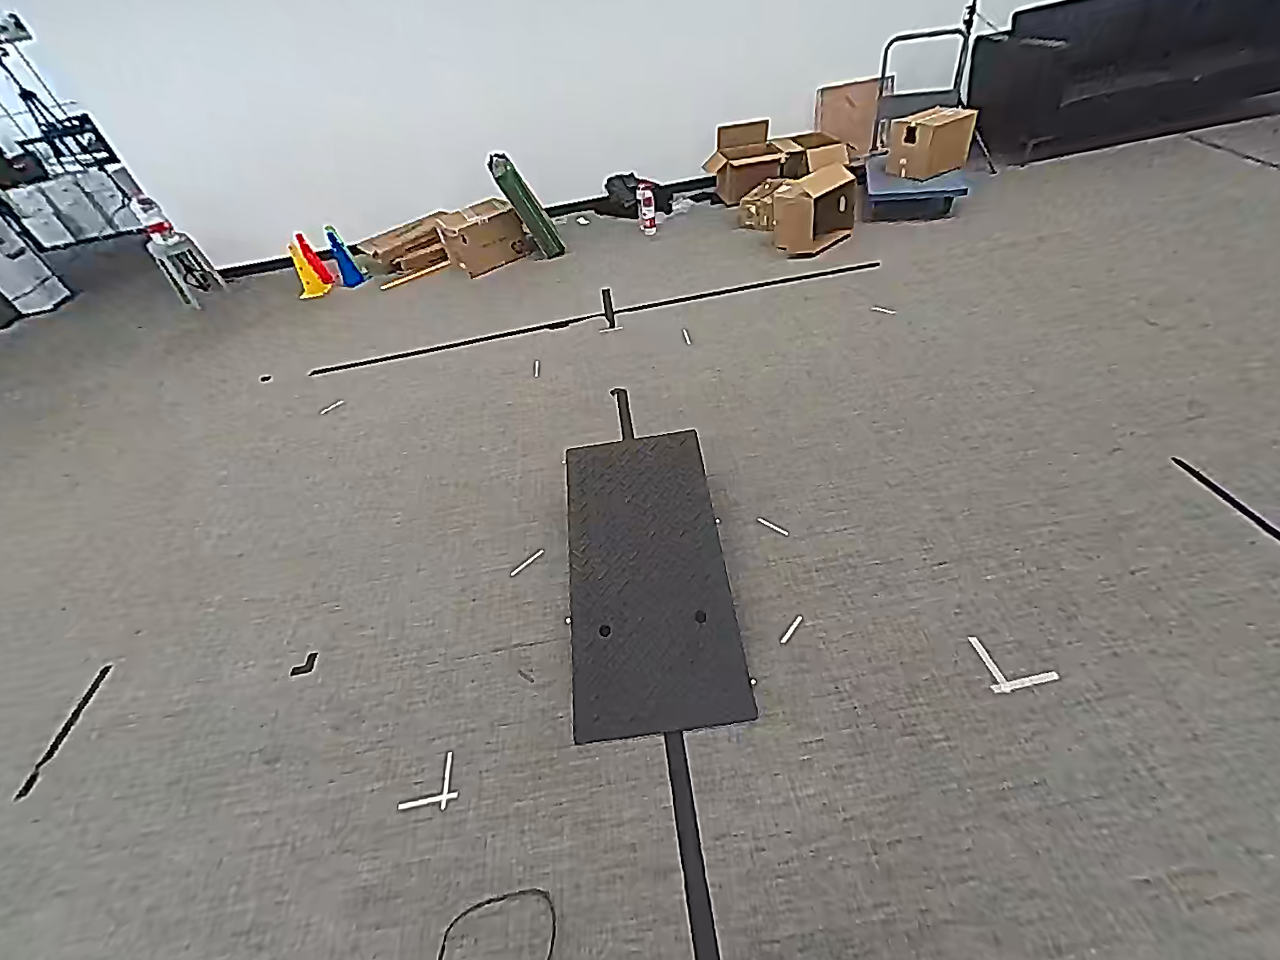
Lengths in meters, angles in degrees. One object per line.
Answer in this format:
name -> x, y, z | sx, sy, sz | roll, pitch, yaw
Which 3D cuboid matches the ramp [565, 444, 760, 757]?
ramp -> 0.023, 0.302, 1.724 | 0.509, 0.206, 0.991 | -11, 43, 0
